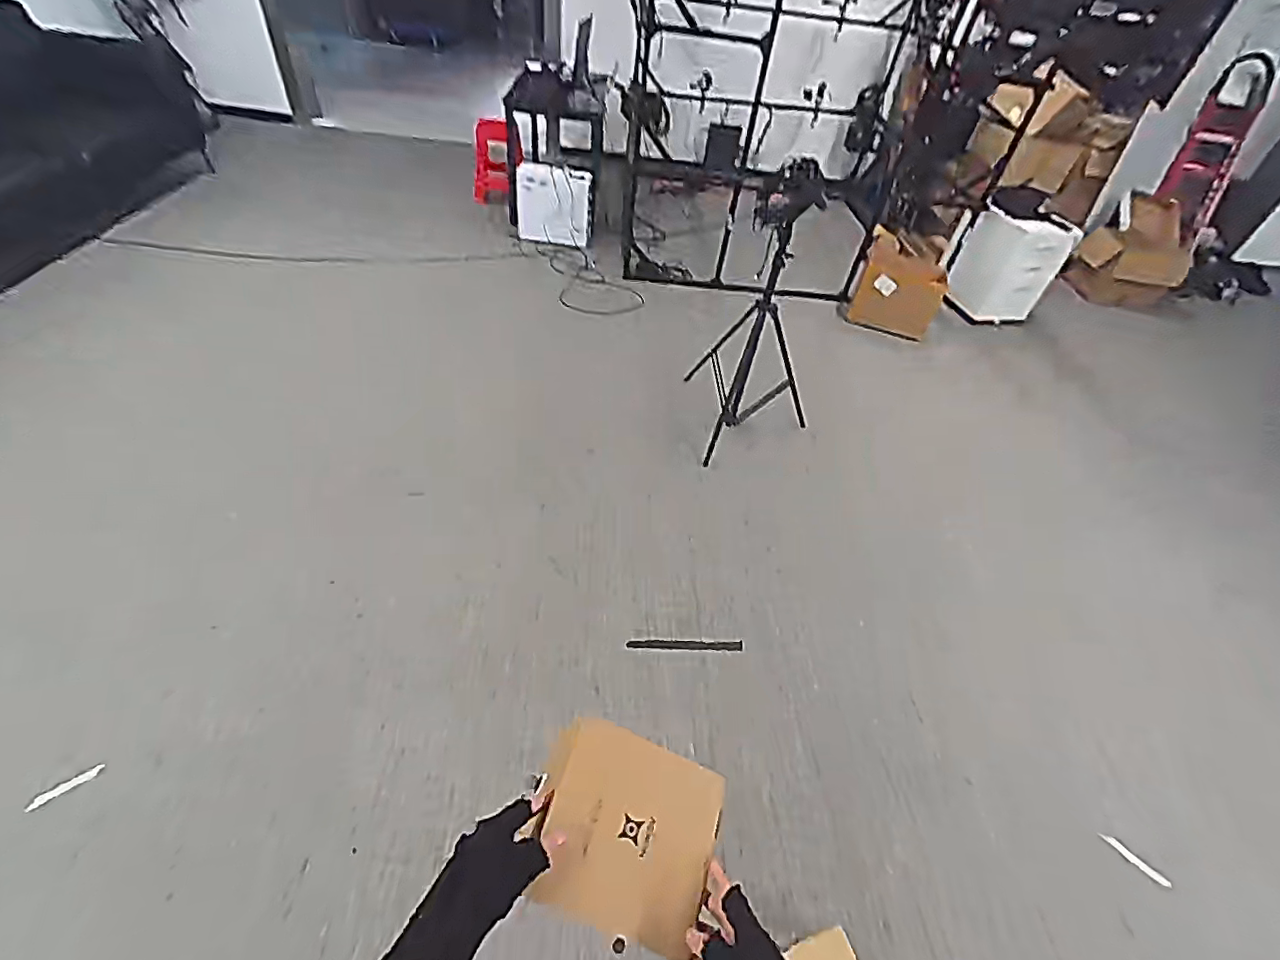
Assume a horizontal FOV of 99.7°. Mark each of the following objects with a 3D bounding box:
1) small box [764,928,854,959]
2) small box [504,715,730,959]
[{"bbox_3d":[0.341,1.032,1.072,0.179,0.176,0.168,-9,47,-18],"label":"small box"},{"bbox_3d":[-0.030,0.386,0.599,0.179,0.176,0.168,27,53,-5],"label":"small box"}]
